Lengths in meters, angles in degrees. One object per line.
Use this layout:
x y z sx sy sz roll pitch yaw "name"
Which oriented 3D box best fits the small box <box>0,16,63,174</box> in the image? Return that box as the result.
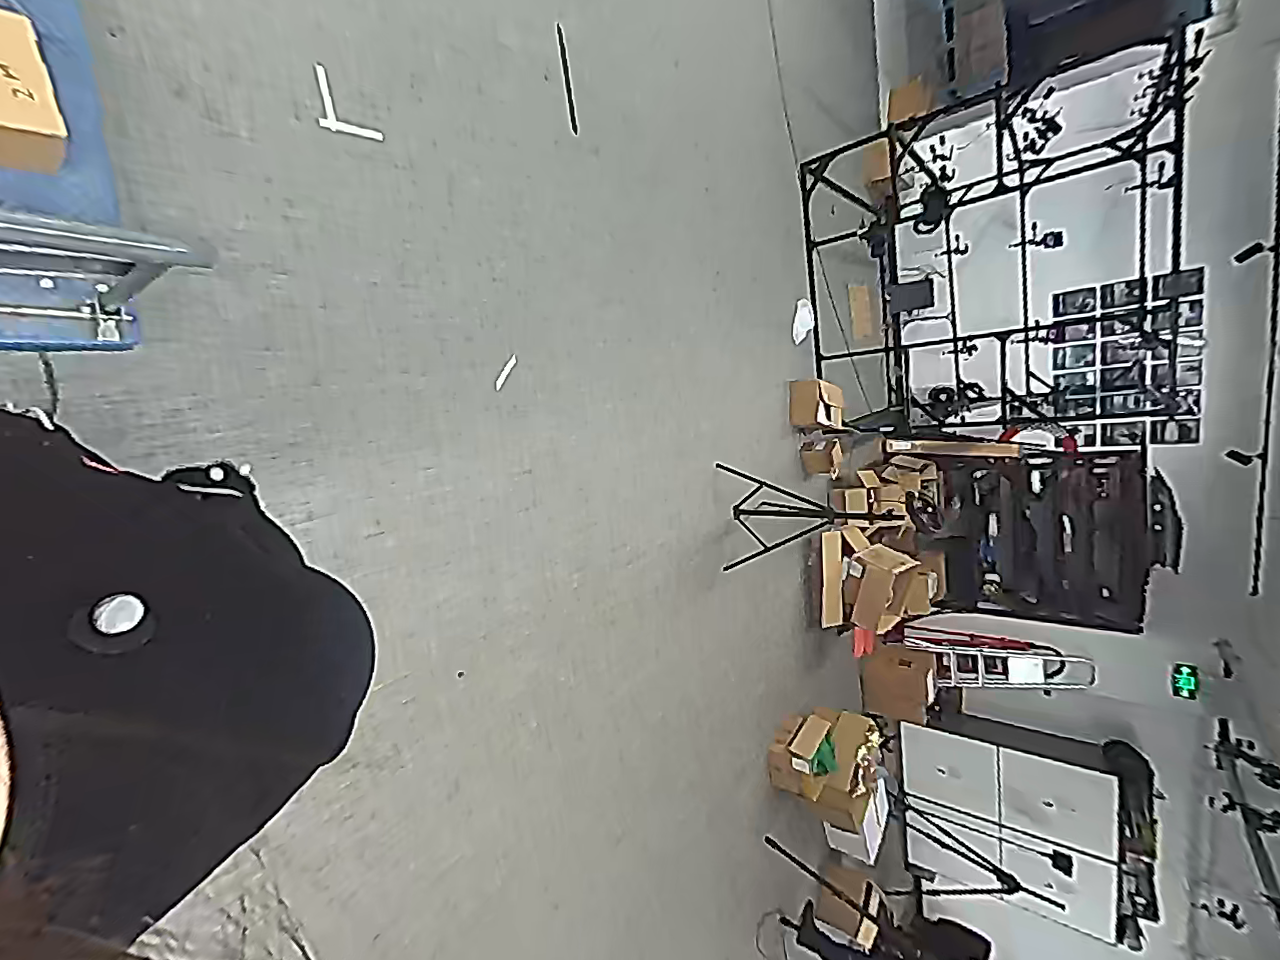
-1.020 -0.585 0.811 0.179 0.176 0.168 -22 107 -49 "small box"
